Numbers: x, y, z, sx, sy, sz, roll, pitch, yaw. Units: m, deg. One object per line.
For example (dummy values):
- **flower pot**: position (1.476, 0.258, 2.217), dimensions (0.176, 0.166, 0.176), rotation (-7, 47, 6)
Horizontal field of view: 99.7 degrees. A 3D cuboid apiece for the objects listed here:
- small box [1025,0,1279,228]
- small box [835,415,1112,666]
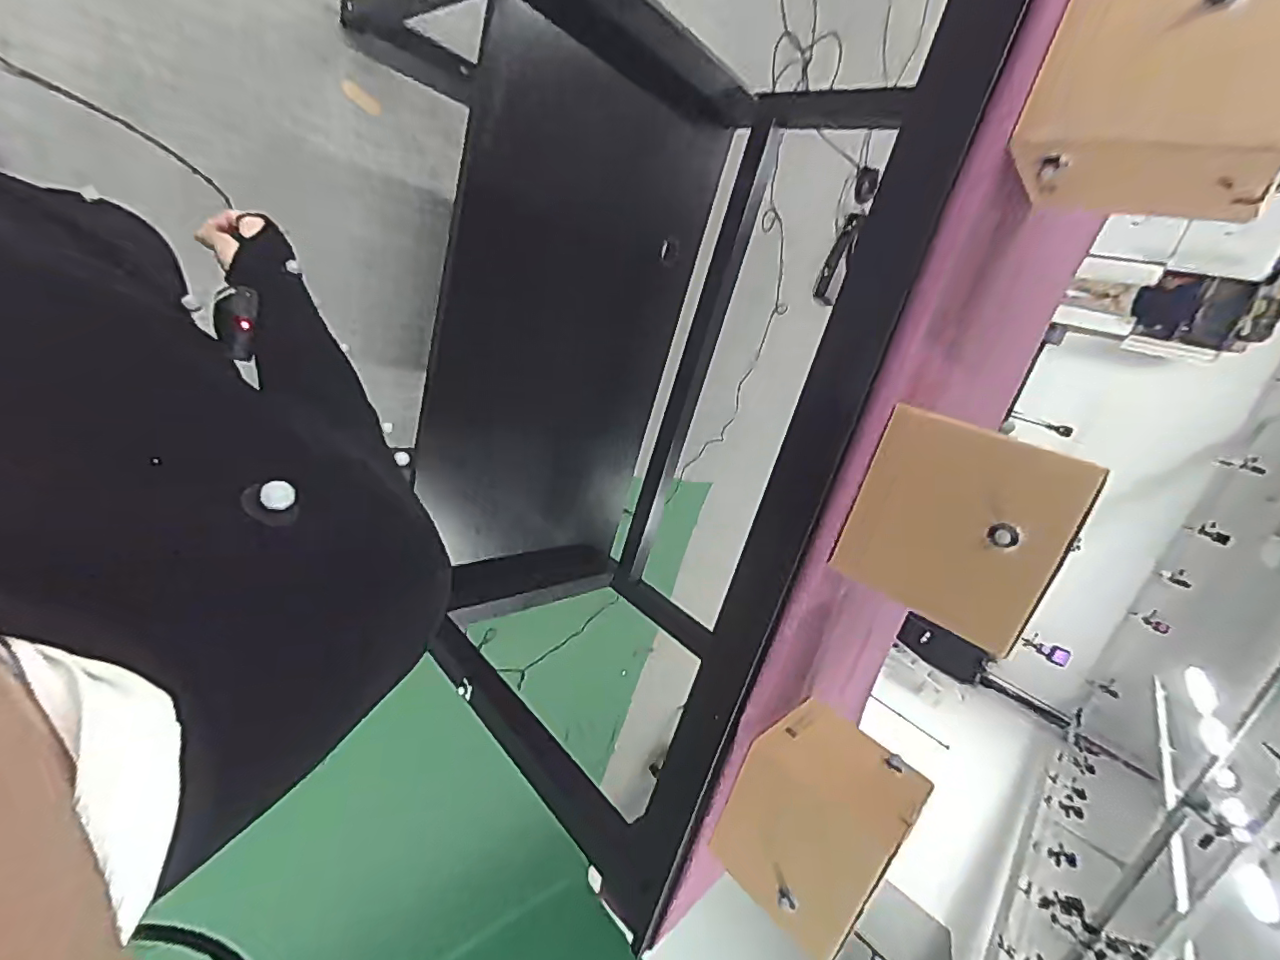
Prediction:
- **small box**: position (0.425, -0.317, 0.417), dimensions (0.168, 0.176, 0.179), rotation (-5, 116, -47)
- **small box**: position (0.319, 0.044, 0.531), dimensions (0.168, 0.176, 0.179), rotation (-1, 113, -48)
